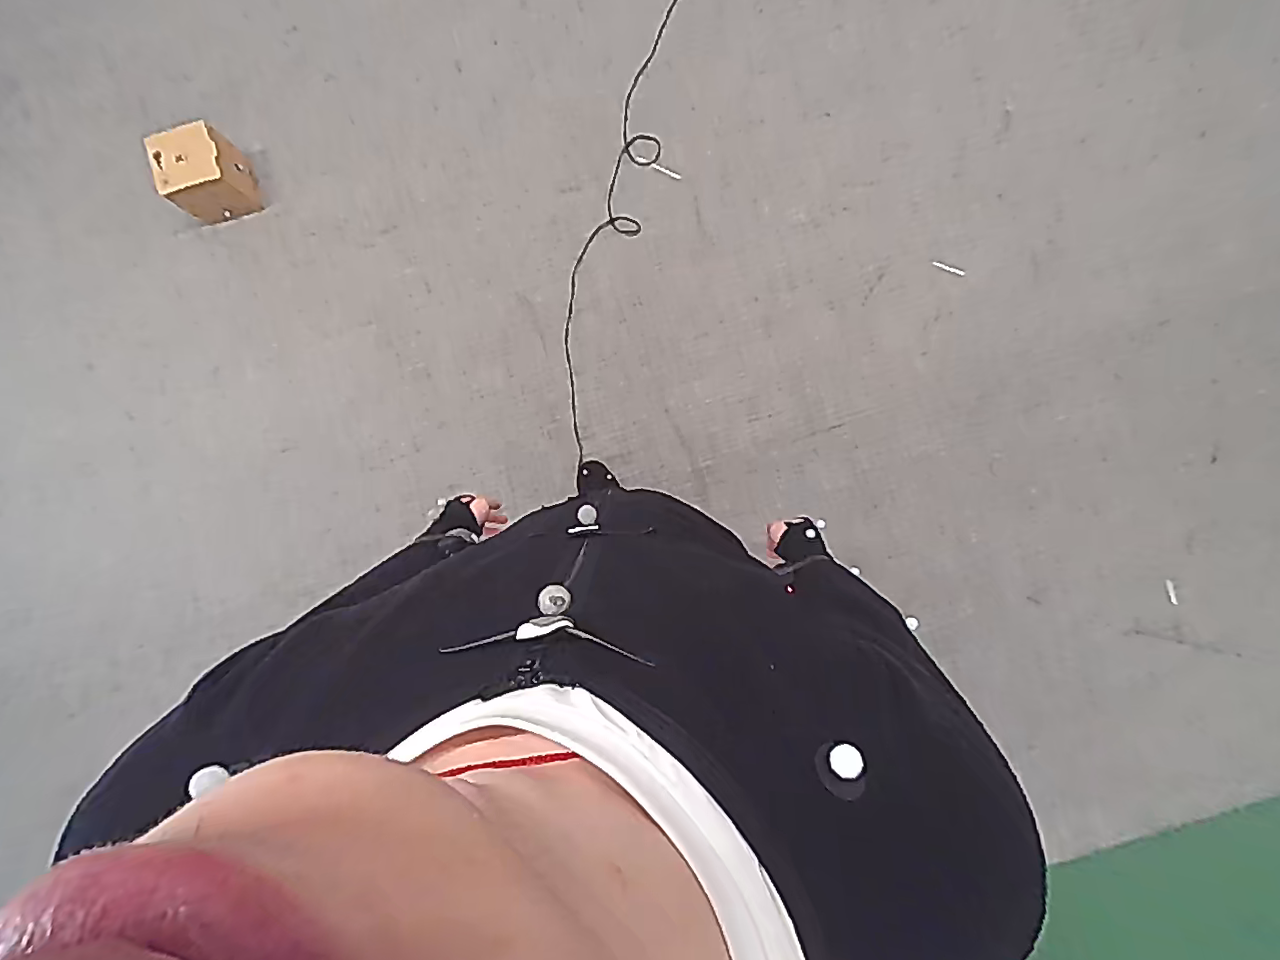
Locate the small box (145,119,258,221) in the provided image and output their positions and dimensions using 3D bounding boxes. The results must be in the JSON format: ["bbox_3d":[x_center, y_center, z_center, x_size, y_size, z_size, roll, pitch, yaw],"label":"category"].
[{"bbox_3d":[-1.220,-0.864,1.523,0.179,0.176,0.168,-16,88,0],"label":"small box"}]
